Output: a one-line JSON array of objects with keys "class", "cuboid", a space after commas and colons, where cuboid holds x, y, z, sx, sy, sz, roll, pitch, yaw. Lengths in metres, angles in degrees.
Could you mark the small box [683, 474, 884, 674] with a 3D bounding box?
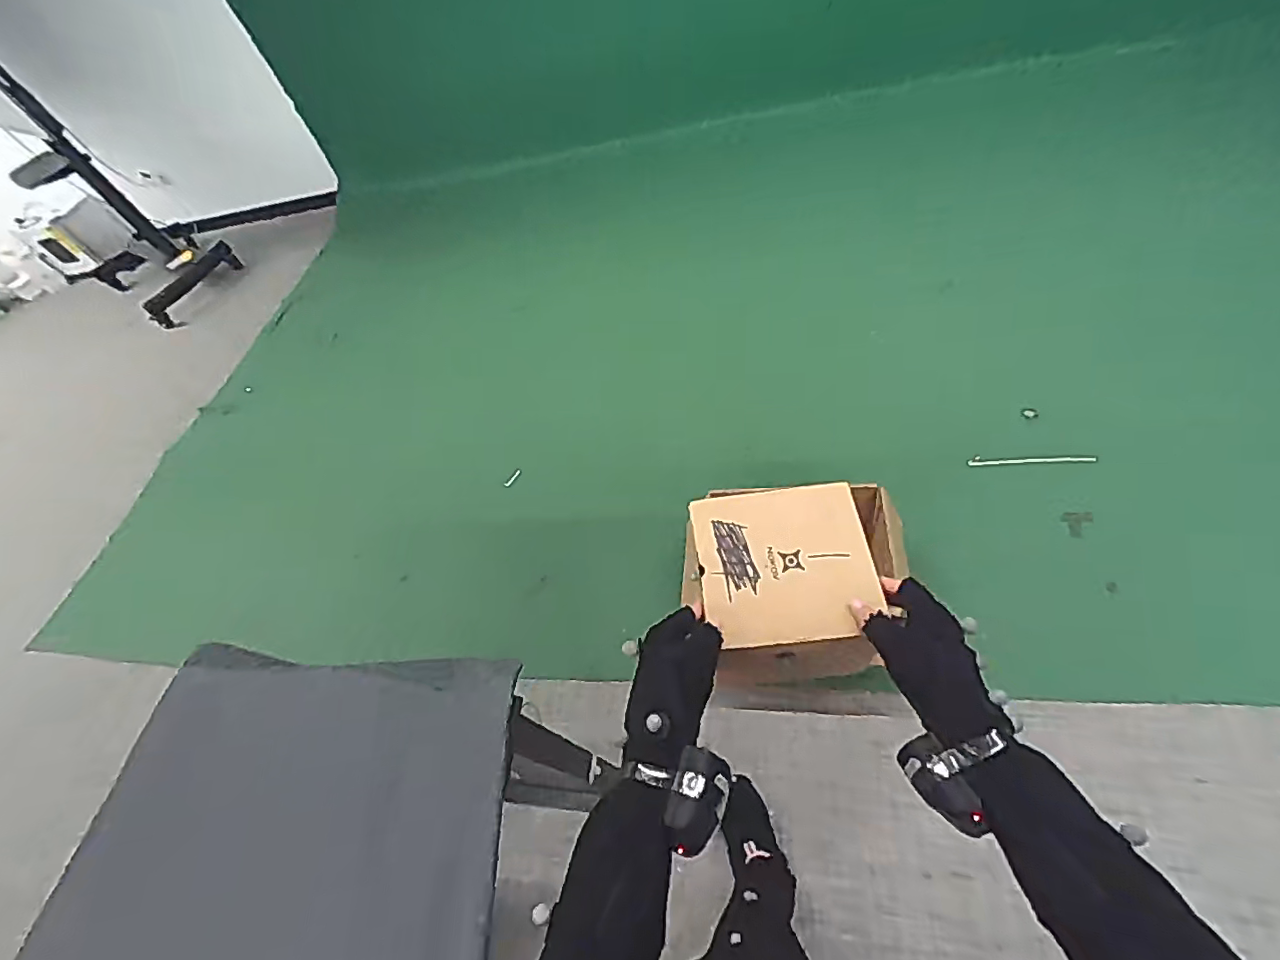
[{"class": "small box", "cuboid": [0.150, 0.115, 0.617, 0.179, 0.176, 0.168, -8, 58, 5]}]
